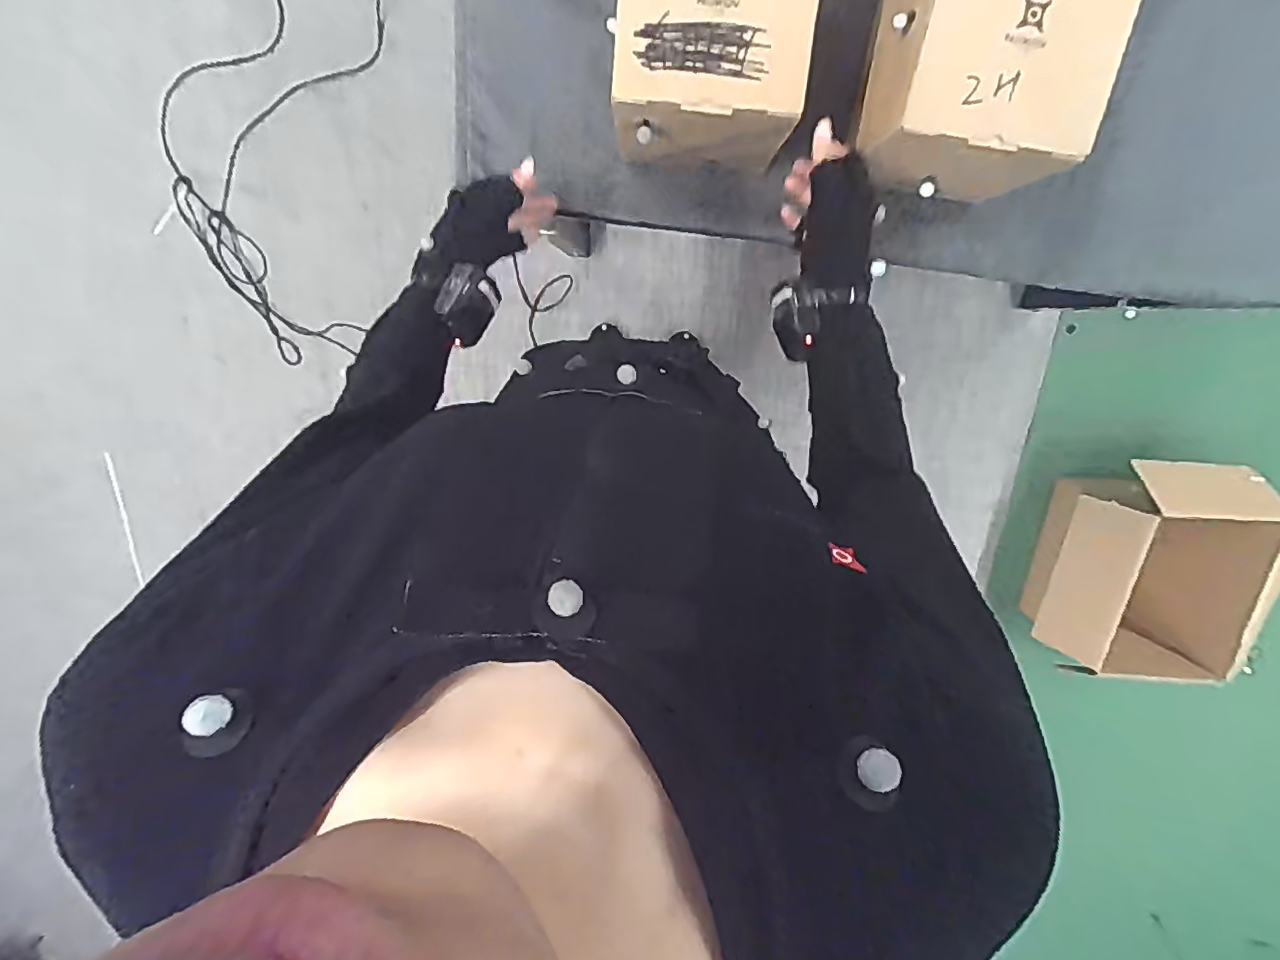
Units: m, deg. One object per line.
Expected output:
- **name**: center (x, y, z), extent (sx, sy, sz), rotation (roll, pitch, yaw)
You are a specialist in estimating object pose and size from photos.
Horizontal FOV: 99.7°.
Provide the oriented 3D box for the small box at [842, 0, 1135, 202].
- **small box**: center (0.316, -0.392, 0.523), extent (0.168, 0.176, 0.179), rotation (8, 106, -2)
